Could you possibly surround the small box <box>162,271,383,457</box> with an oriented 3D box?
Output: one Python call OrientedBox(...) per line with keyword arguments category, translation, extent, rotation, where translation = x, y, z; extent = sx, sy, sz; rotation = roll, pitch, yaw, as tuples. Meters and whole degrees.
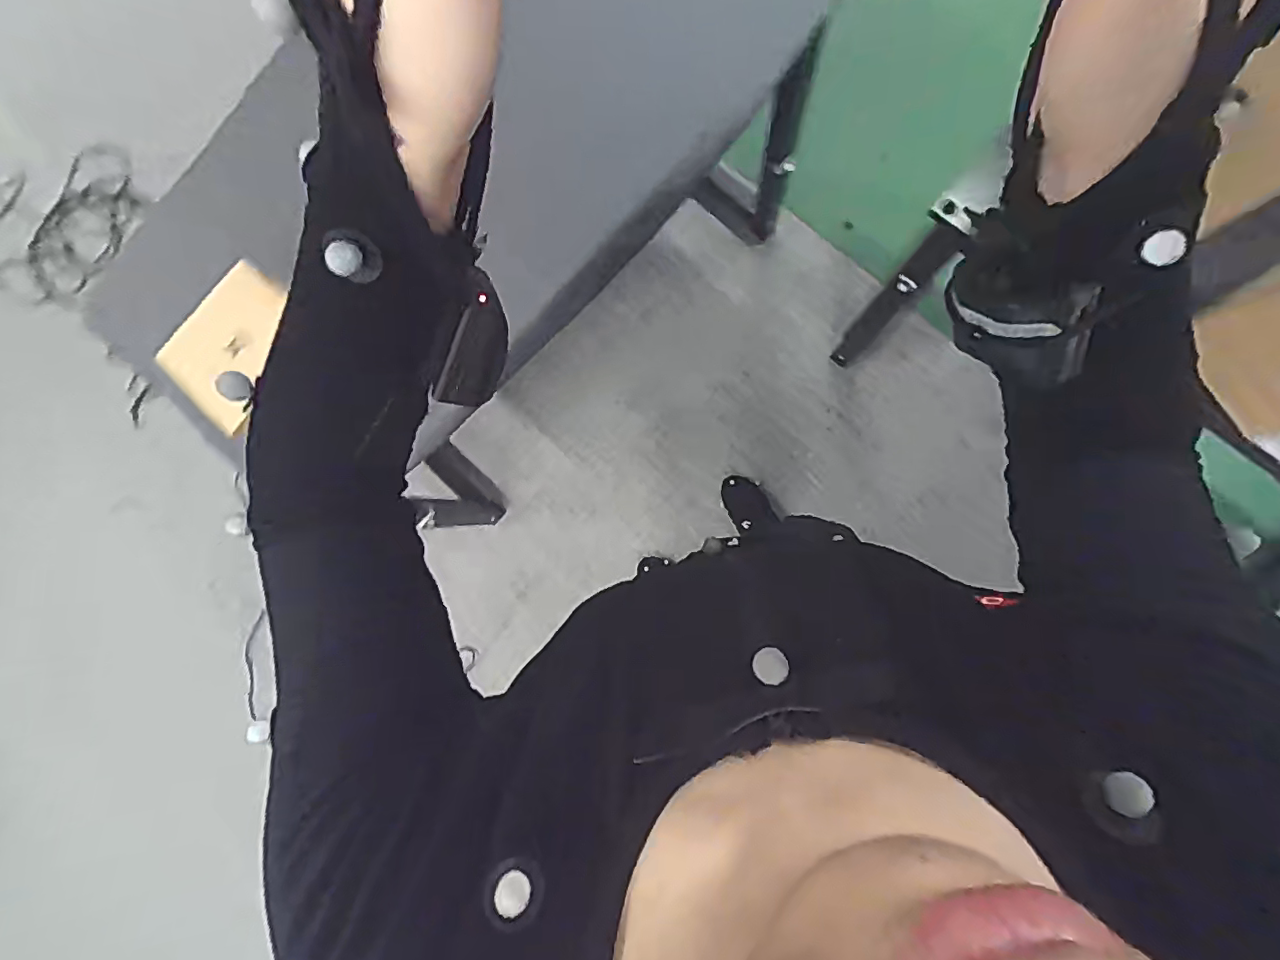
OrientedBox(category="small box", translation=(-0.509, -0.154, 0.781), extent=(0.168, 0.176, 0.179), rotation=(41, 92, 10))
